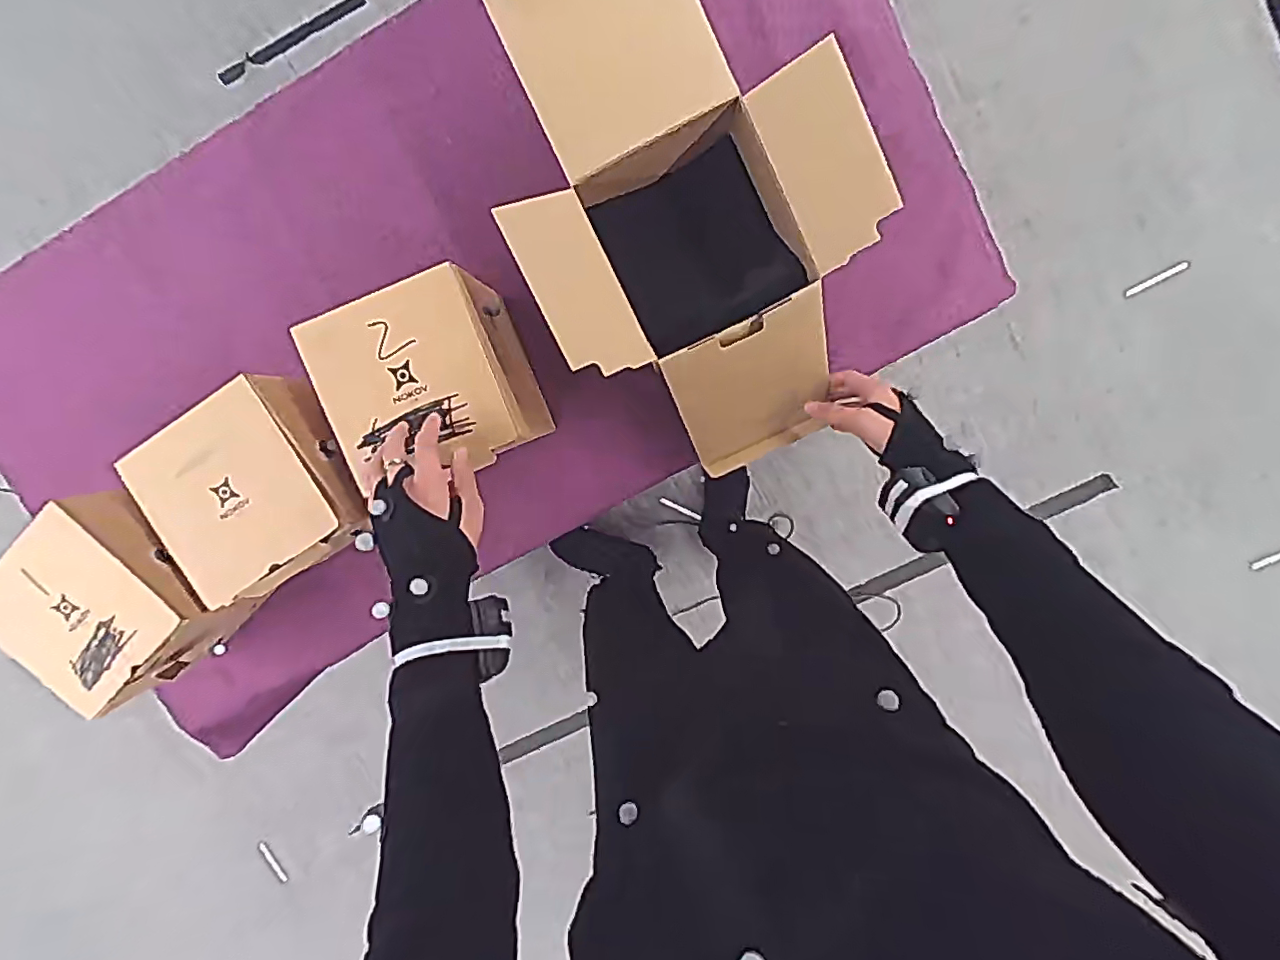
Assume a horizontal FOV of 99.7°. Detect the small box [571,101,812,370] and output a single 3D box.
[{"bbox_3d":[0.048,-0.227,0.557,0.168,0.176,0.179,-25,97,6],"label":"small box"}]
